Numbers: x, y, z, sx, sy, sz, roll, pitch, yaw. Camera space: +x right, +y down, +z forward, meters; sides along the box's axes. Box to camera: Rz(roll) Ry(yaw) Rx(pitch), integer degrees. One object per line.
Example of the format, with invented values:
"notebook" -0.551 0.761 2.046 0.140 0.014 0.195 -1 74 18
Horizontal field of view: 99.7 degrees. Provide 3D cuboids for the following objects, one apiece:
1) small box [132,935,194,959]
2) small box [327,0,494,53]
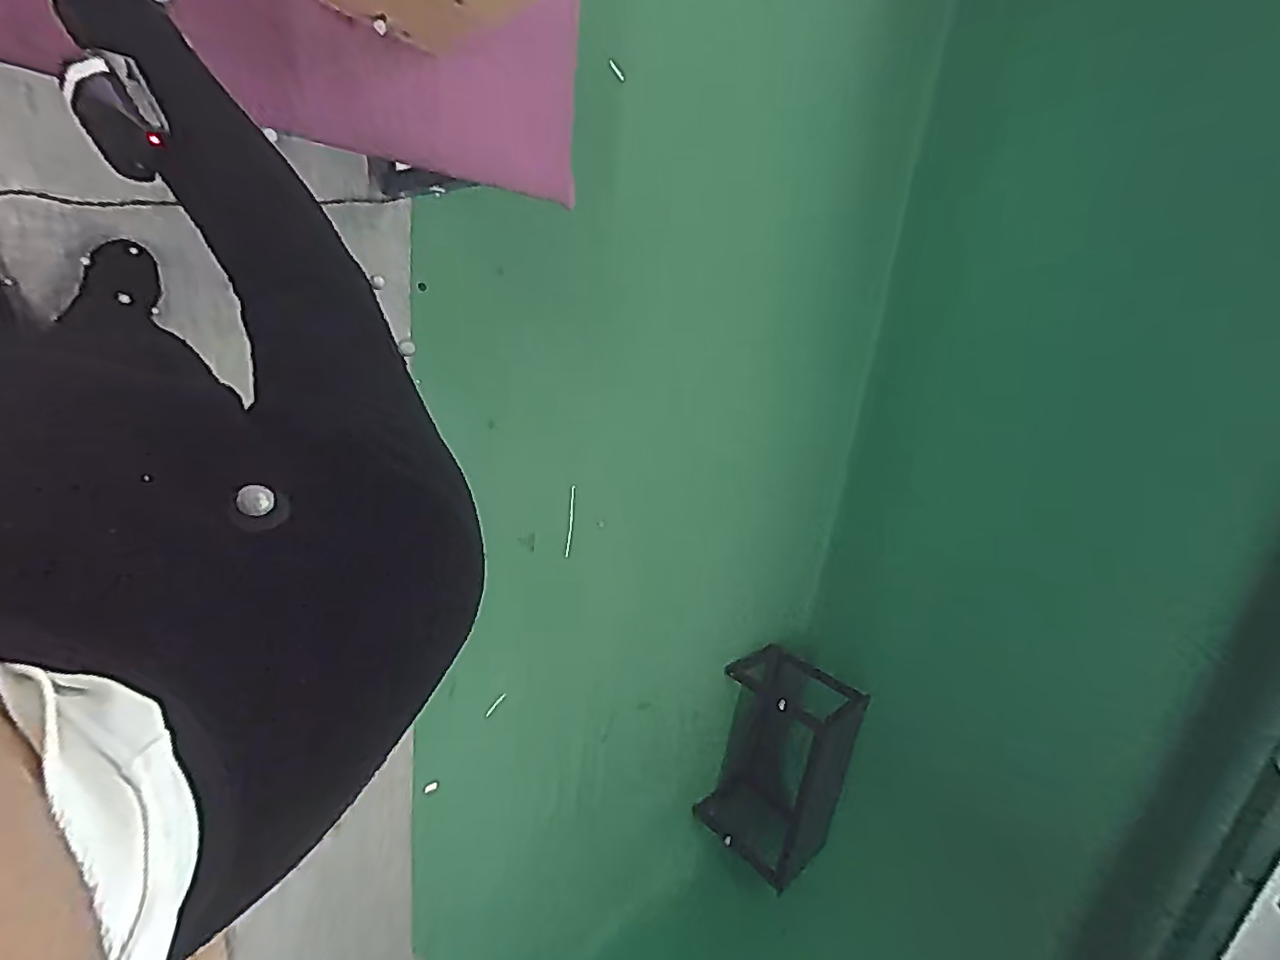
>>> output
"small box" -1.371 1.459 1.530 0.168 0.176 0.179 -18 119 -40
"small box" -0.287 -0.674 0.662 0.168 0.176 0.179 -7 112 -43
